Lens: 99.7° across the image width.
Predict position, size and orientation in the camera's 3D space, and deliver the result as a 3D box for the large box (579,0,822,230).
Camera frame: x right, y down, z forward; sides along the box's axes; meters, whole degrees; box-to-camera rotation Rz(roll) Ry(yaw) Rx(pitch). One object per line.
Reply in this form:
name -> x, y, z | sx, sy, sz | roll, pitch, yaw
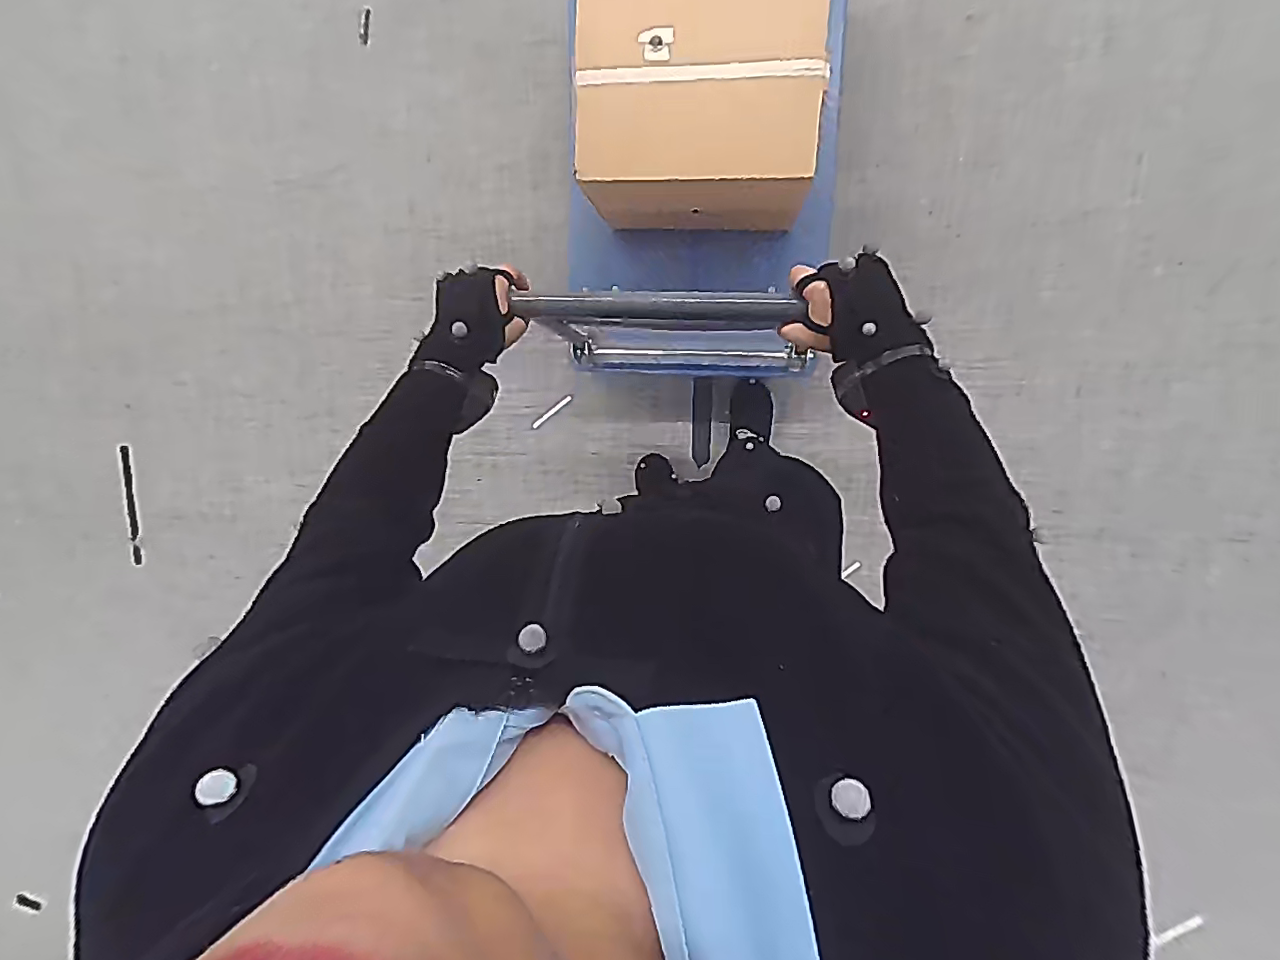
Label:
large box -> 0.116, -0.689, 1.048 | 0.408, 0.320, 0.320 | 4, 99, 9
